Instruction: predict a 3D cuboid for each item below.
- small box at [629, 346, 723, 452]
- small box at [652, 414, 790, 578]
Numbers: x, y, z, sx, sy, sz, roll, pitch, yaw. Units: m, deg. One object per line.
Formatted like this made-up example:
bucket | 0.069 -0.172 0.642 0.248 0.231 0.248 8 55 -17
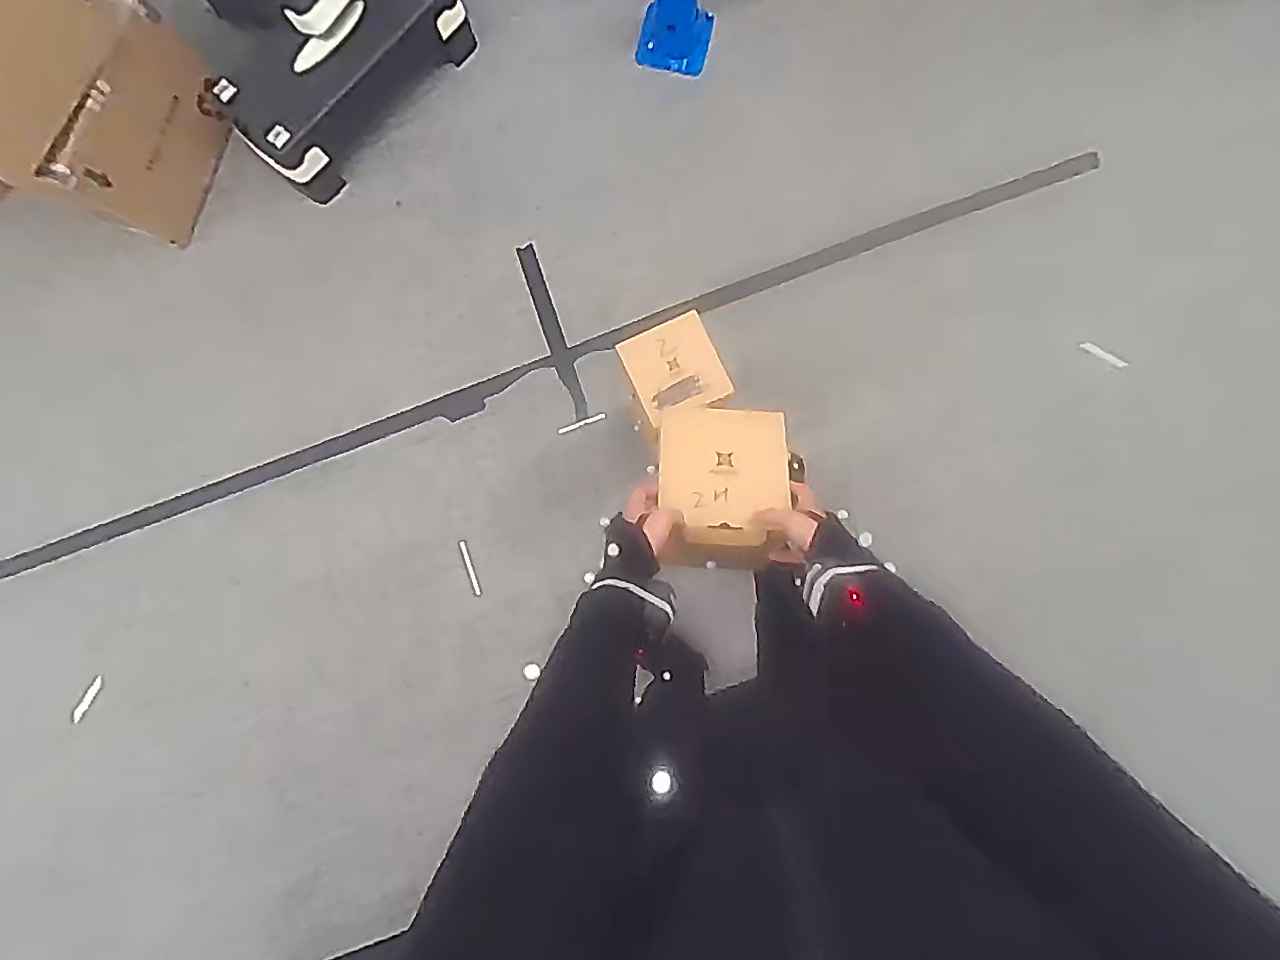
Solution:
small box | 0.076 -0.177 1.234 0.168 0.176 0.179 -18 86 0
small box | 0.104 0.027 0.763 0.168 0.176 0.179 3 65 1
